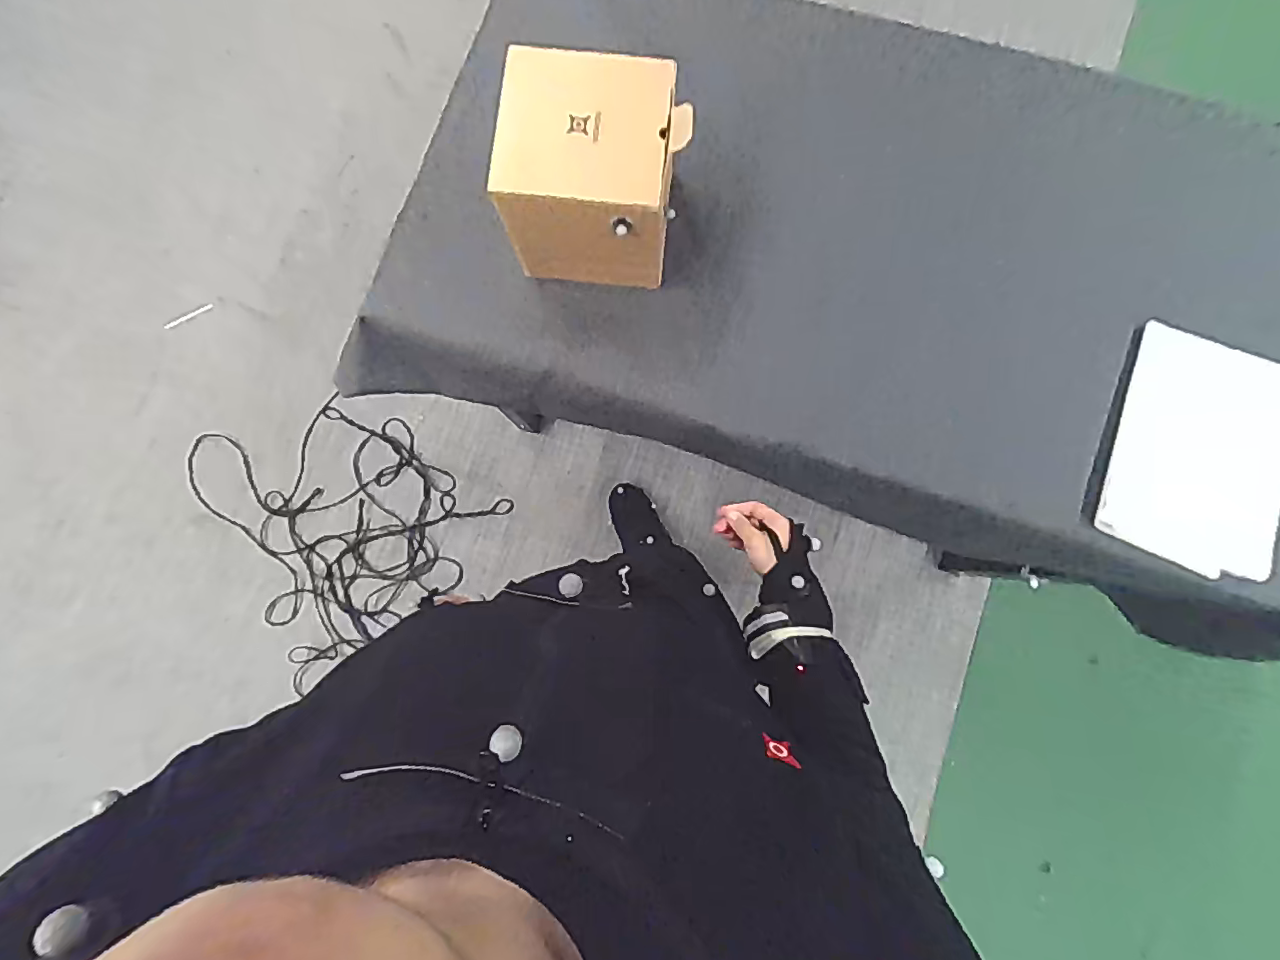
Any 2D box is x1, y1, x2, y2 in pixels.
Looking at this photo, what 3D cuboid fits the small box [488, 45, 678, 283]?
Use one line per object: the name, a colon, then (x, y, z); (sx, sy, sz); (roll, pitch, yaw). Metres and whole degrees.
small box: (-0.055, -0.344, 0.618); (0.179, 0.176, 0.168); (5, 82, 0)
